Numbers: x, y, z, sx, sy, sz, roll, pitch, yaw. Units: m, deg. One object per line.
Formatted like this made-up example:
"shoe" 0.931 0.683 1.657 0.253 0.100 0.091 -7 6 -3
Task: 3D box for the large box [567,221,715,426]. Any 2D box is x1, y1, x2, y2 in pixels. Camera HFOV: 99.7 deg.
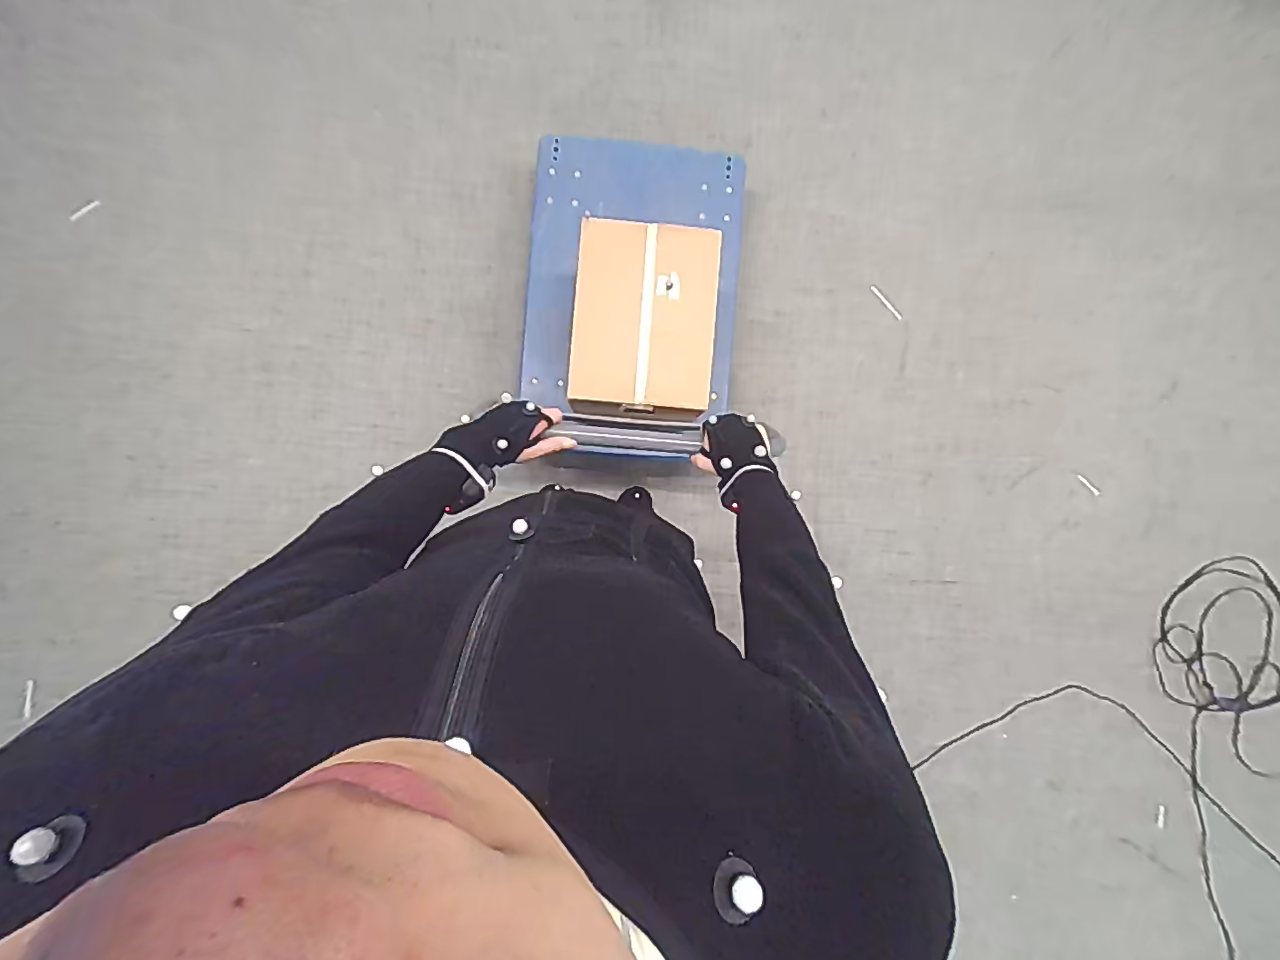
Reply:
"large box" -0.003 -0.357 1.337 0.320 0.320 0.408 4 88 -4
